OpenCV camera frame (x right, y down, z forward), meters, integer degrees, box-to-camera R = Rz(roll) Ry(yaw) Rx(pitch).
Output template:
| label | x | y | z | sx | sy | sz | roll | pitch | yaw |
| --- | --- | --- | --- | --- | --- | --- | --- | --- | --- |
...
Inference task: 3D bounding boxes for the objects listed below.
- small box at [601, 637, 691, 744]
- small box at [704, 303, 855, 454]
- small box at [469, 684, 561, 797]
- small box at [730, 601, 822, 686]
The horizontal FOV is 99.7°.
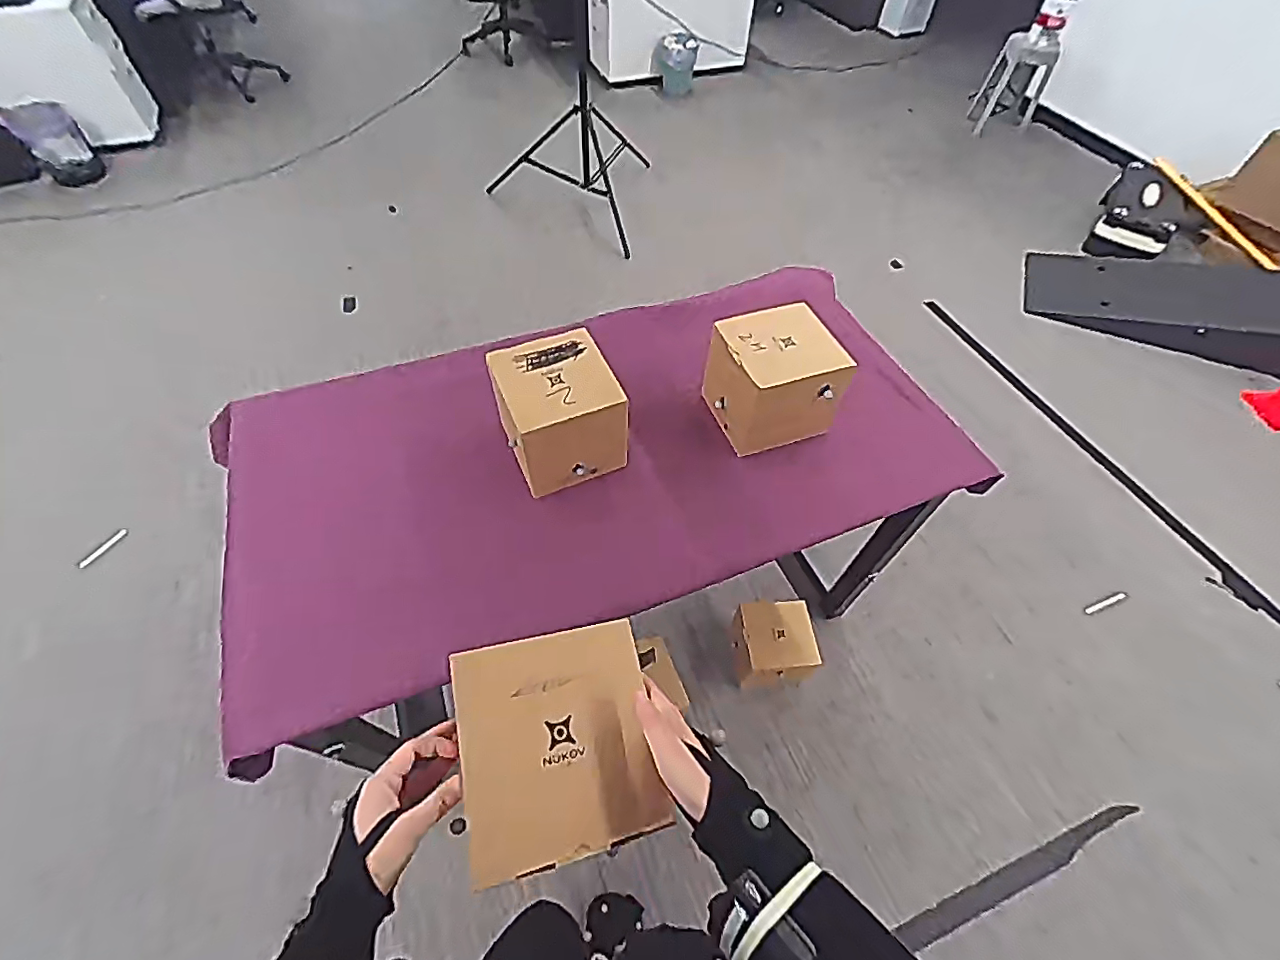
| label | x | y | z | sx | sy | sz | roll | pitch | yaw |
| --- | --- | --- | --- | --- | --- | --- | --- | --- | --- |
| small box | 0.009 | 0.519 | 1.327 | 0.168 | 0.176 | 0.179 | -18 | 58 | -14 |
| small box | 0.226 | -0.171 | 0.927 | 0.179 | 0.176 | 0.168 | -16 | 56 | -12 |
| small box | -0.287 | 0.607 | 1.256 | 0.168 | 0.176 | 0.179 | -16 | 56 | -13 |
| small box | 0.345 | 0.427 | 1.404 | 0.179 | 0.176 | 0.168 | -4 | 56 | -3 |
